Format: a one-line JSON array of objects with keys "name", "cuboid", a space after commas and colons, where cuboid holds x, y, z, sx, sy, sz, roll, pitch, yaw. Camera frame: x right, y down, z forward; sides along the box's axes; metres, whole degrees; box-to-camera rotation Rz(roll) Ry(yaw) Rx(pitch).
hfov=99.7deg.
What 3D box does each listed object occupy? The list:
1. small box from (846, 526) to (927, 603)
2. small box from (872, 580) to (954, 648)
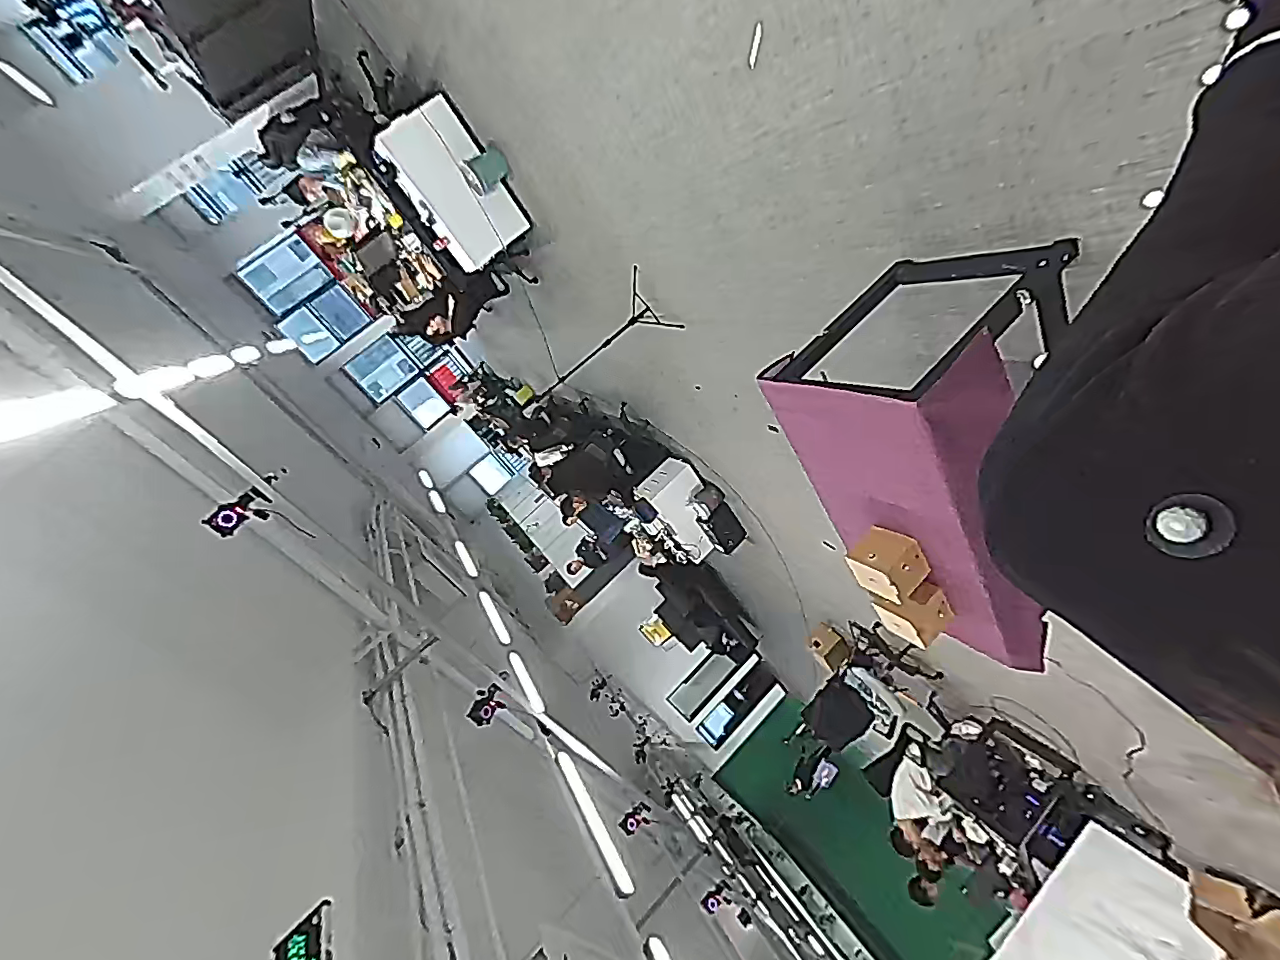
[{"name": "small box", "cuboid": [0.853, 0.284, 1.857, 0.168, 0.176, 0.179, 53, 167, -26]}, {"name": "small box", "cuboid": [0.991, 0.466, 1.959, 0.168, 0.176, 0.179, 52, 168, -25]}]
